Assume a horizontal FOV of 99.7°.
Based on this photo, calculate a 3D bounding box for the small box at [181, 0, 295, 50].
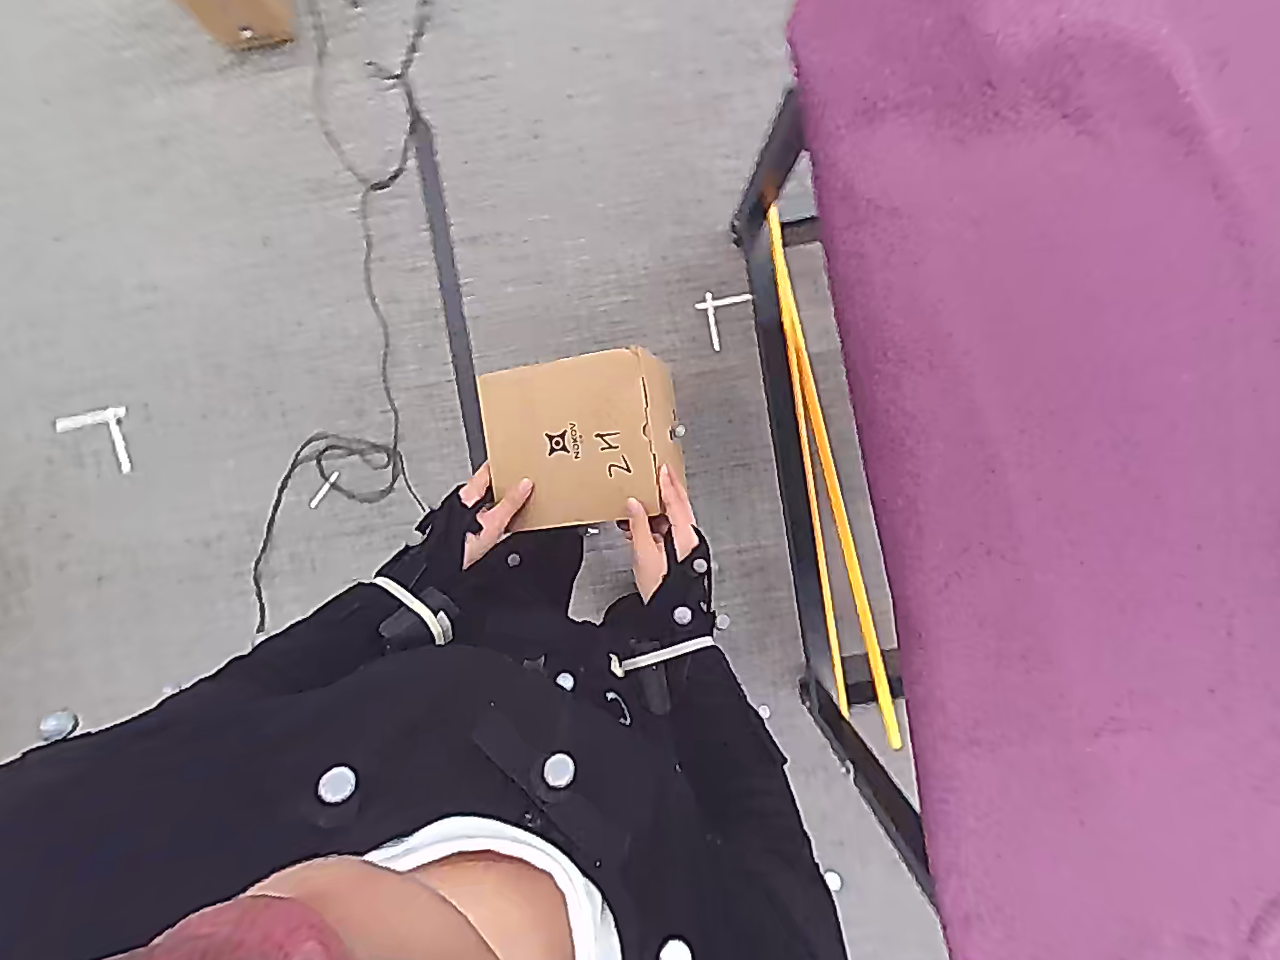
[{"bbox_3d":[-0.872,-1.067,1.141,0.168,0.176,0.179,-10,95,1],"label":"small box"}]
